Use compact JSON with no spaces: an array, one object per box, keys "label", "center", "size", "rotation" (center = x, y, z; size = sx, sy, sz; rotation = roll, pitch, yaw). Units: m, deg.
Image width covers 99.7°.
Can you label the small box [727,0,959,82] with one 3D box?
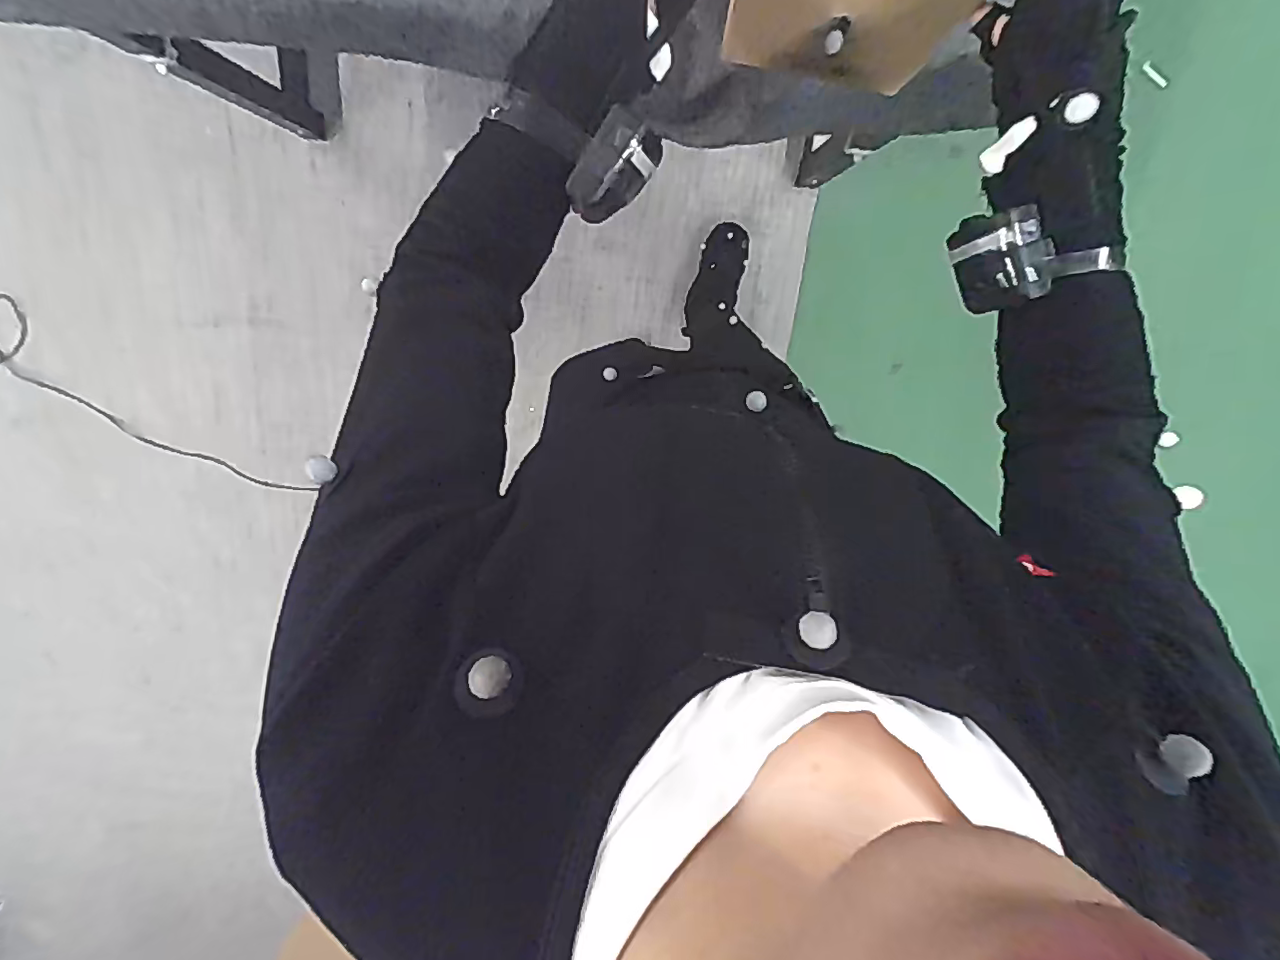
[{"label":"small box","center":[0.166,-0.437,0.398],"size":[0.168,0.176,0.179],"rotation":[9,103,-2]}]
